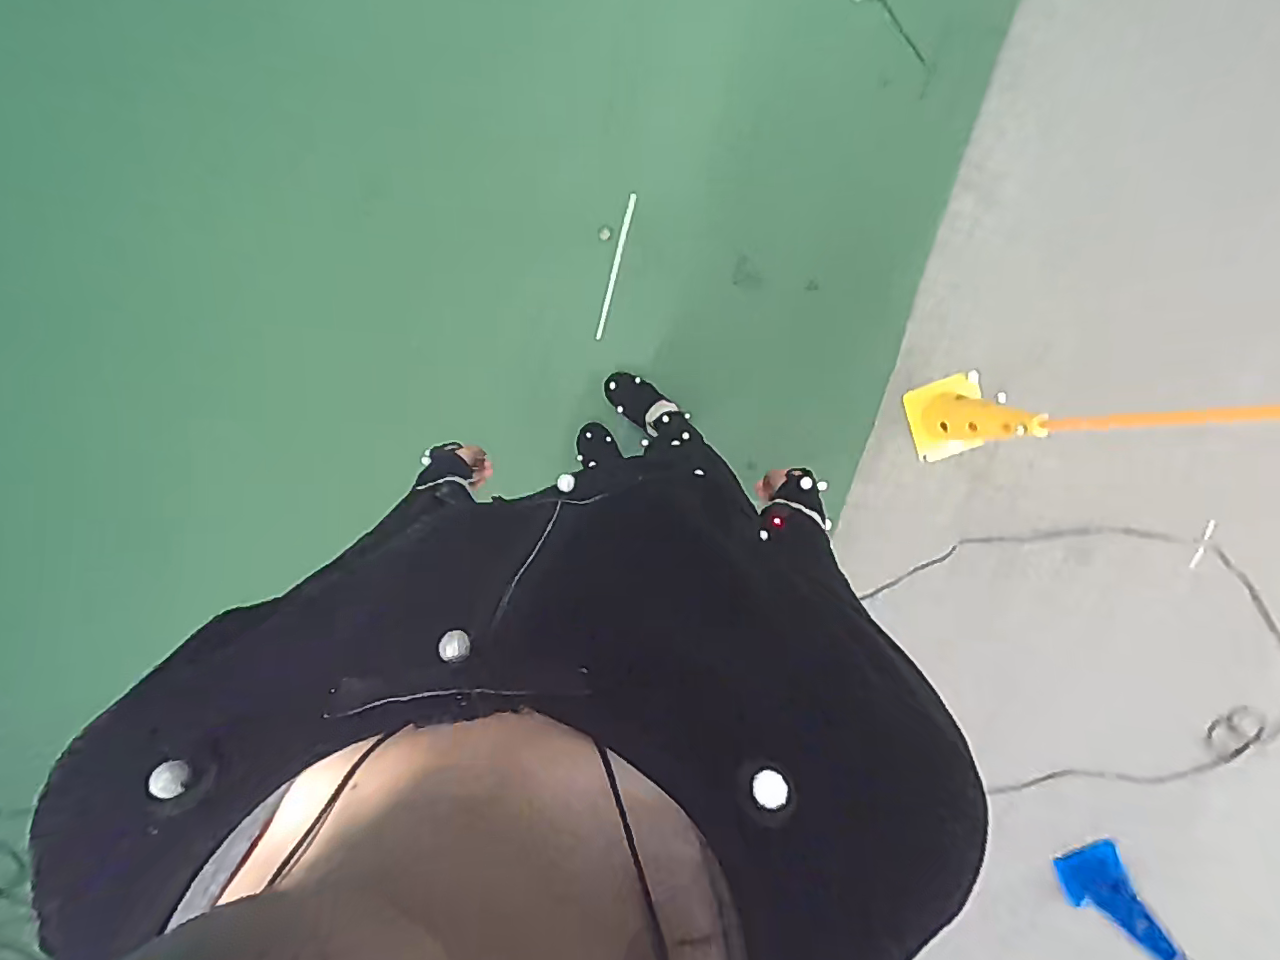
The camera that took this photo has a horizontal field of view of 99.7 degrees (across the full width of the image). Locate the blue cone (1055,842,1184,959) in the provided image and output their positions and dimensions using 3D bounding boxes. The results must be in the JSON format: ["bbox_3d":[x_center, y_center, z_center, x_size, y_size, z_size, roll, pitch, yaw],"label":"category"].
[{"bbox_3d":[1.406,1.252,1.515,0.192,0.380,0.193,-29,100,4],"label":"blue cone"}]
